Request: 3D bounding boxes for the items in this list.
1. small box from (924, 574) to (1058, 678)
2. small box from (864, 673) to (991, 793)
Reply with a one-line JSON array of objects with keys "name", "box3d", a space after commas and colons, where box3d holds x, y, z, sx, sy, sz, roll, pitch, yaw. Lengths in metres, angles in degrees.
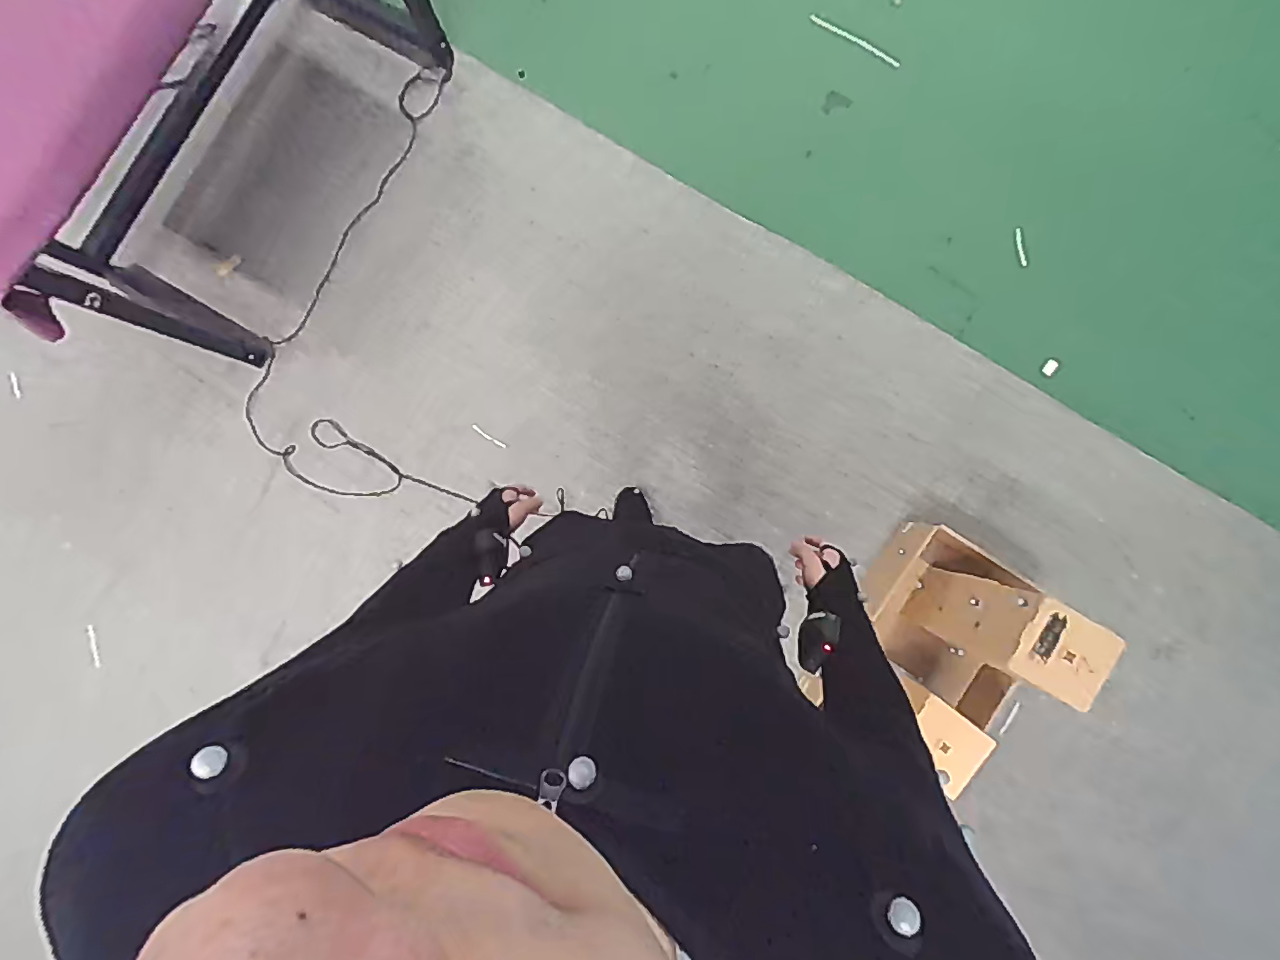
[{"name": "small box", "box3d": [0.838, 0.341, 1.308, 0.179, 0.176, 0.168, 31, 87, 2]}, {"name": "small box", "box3d": [0.683, 0.597, 1.305, 0.179, 0.176, 0.168, 37, 90, 4]}]
